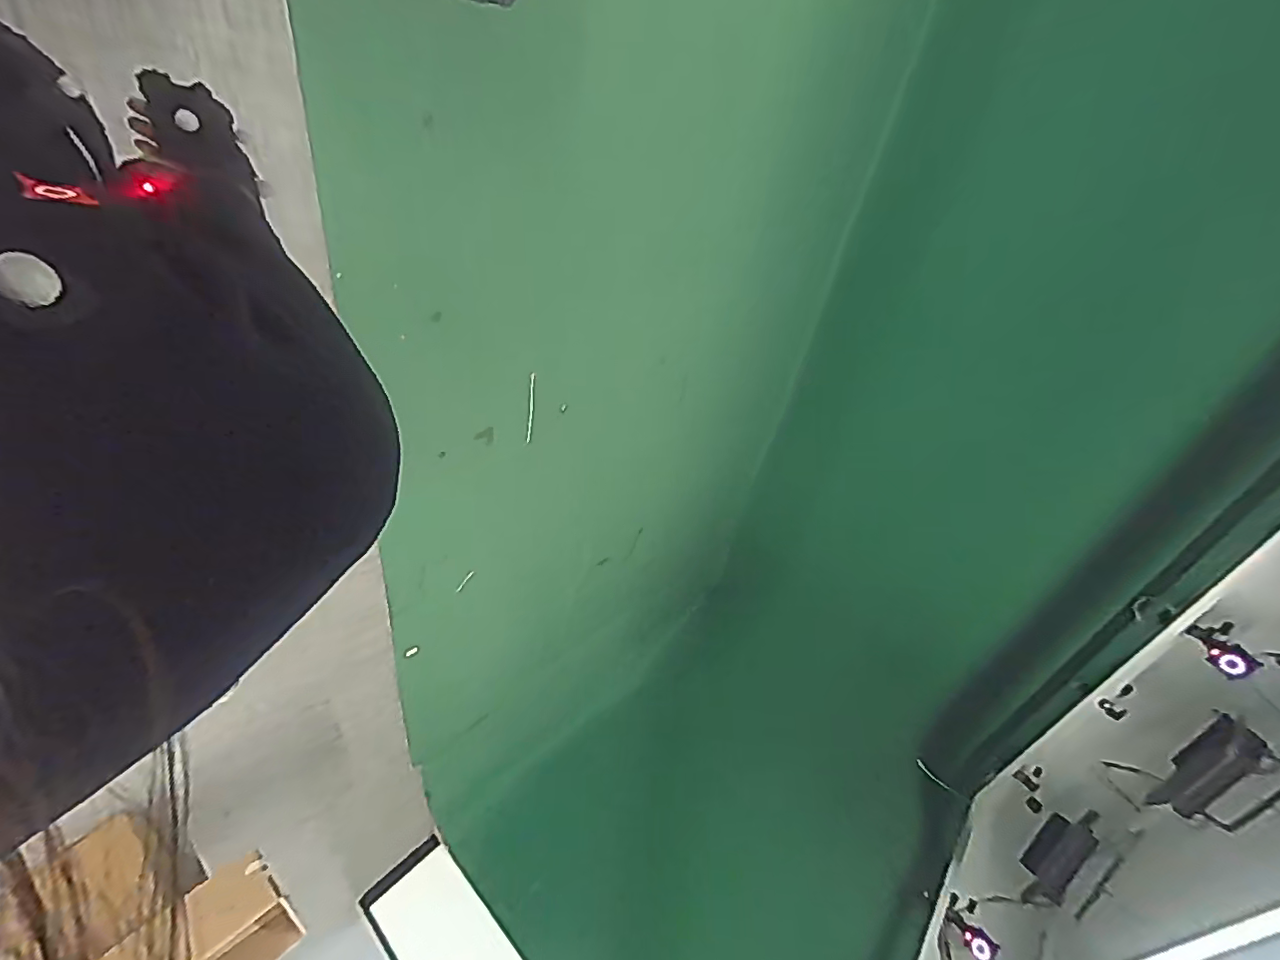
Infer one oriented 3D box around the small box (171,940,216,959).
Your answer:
[{"bbox_3d":[-1.276,1.451,1.513,0.168,0.176,0.179,-22,138,-47],"label":"small box"}]
